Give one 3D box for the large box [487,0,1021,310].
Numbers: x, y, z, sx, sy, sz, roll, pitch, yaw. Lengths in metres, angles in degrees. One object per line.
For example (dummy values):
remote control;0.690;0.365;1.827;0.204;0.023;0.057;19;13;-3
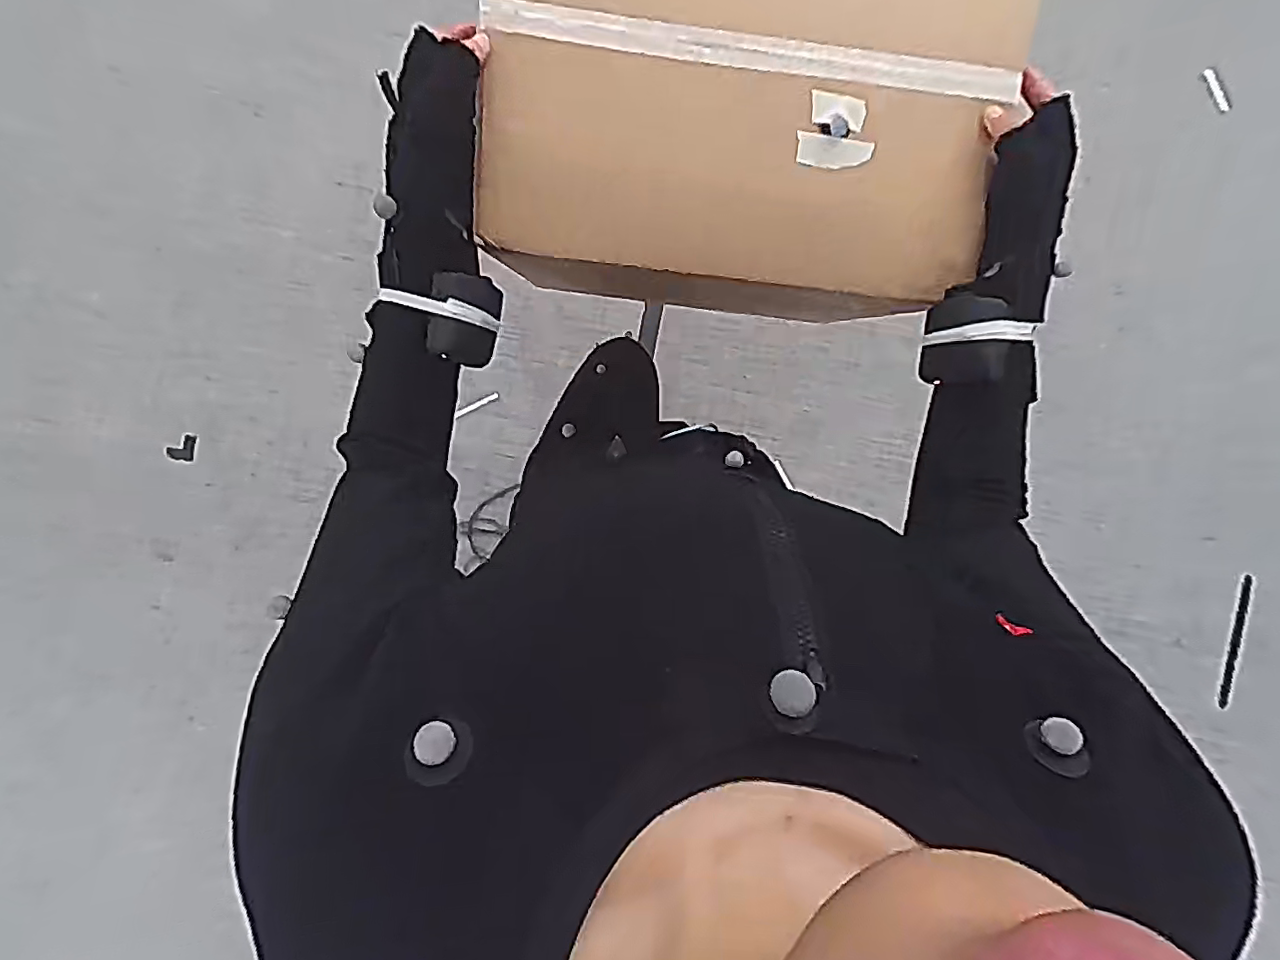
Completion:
large box;0.078;-0.363;0.559;0.408;0.320;0.320;6;105;-4
